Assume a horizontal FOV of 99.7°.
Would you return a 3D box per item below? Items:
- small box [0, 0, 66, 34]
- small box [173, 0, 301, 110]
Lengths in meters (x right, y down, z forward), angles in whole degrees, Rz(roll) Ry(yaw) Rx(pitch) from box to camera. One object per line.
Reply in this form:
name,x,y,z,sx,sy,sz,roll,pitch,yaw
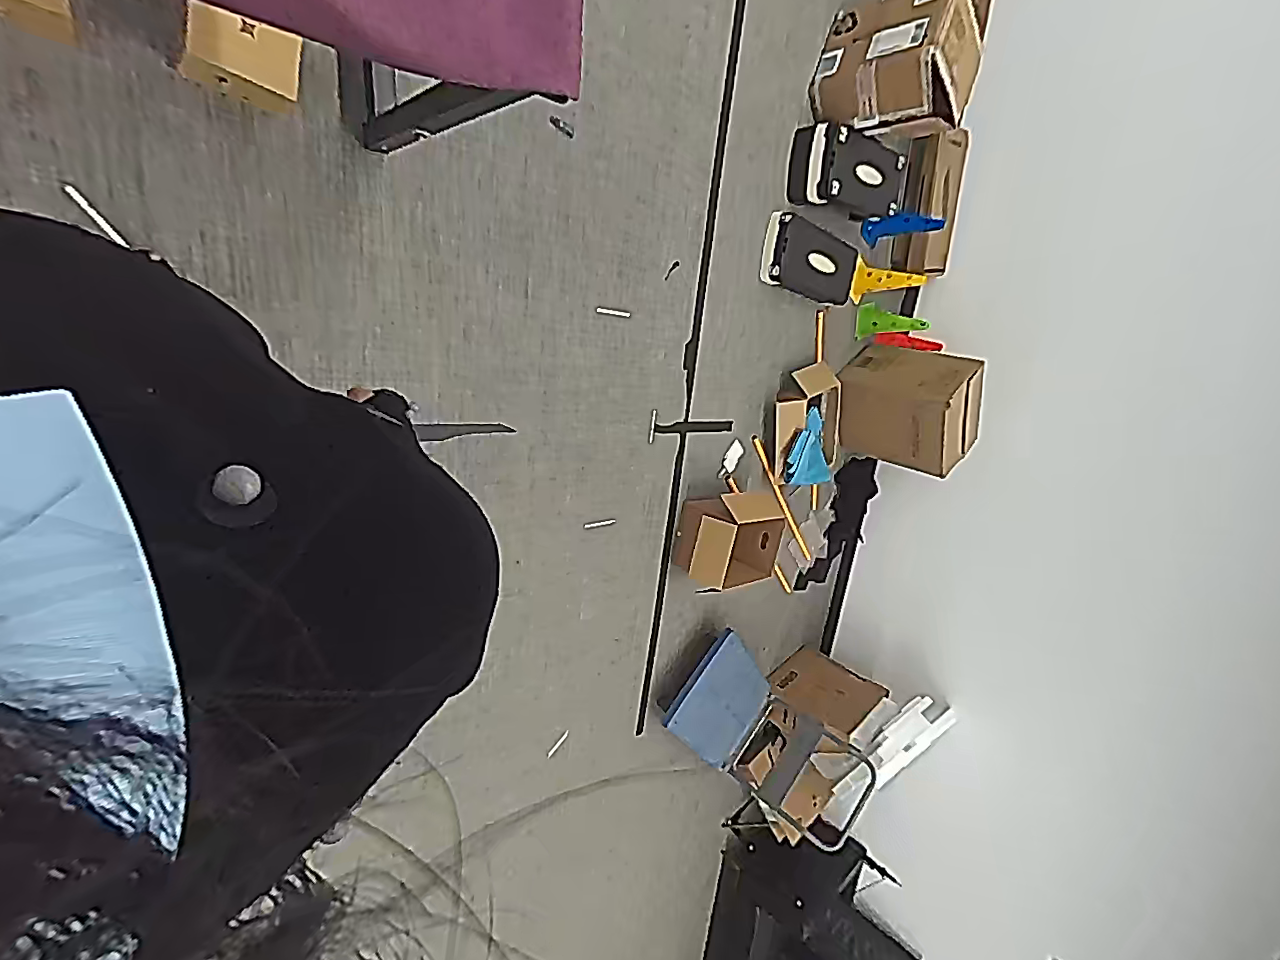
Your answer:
small box,-0.978,-0.809,0.797,0.168,0.176,0.179,-7,110,-44
small box,-0.758,-0.834,1.013,0.168,0.176,0.179,3,103,-45
